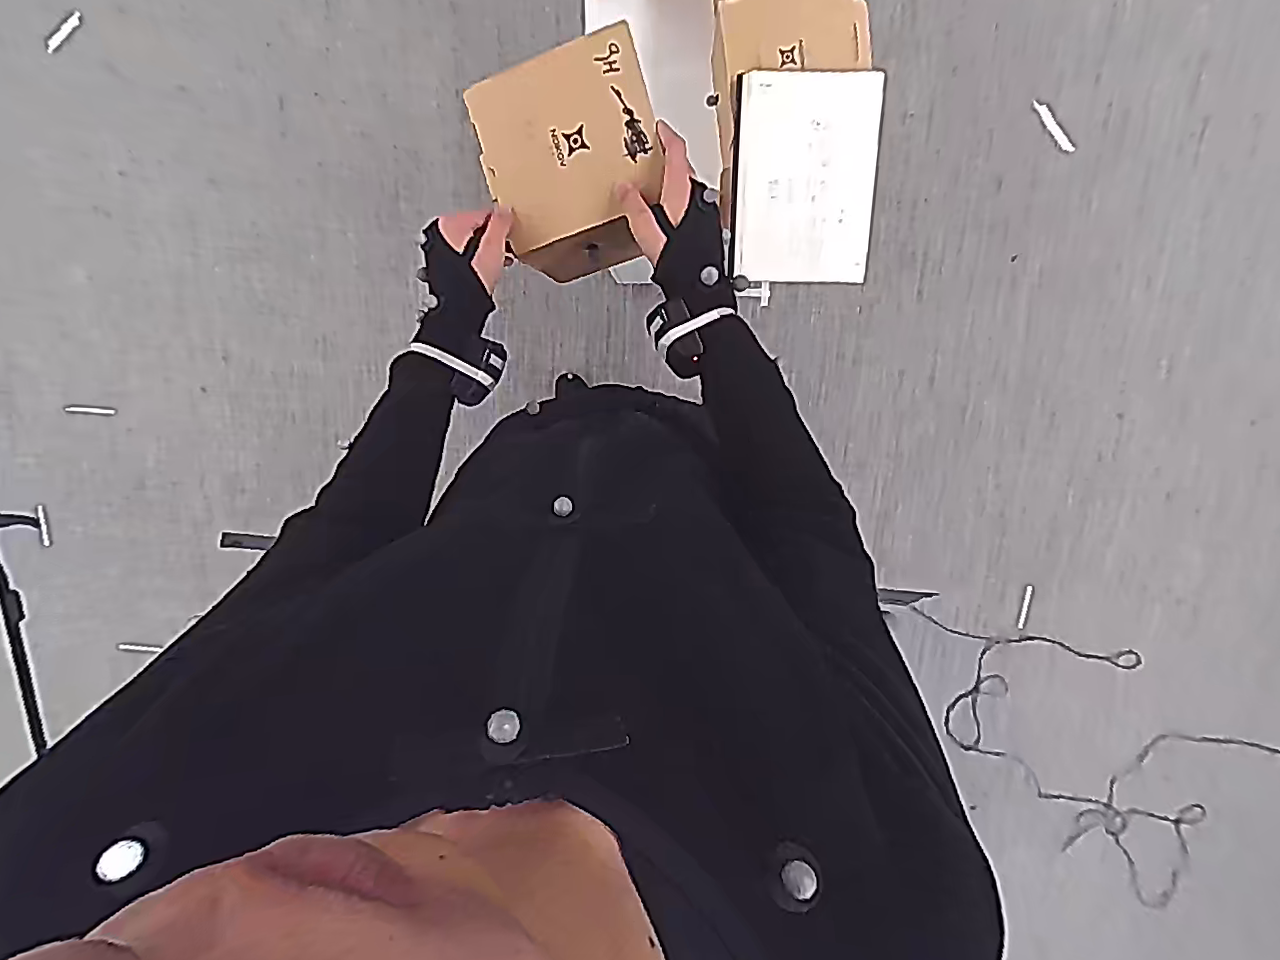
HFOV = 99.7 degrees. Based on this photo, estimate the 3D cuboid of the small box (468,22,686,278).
[{"bbox_3d":[-0.056,-0.343,0.608,0.179,0.176,0.168,-15,98,12],"label":"small box"}]
